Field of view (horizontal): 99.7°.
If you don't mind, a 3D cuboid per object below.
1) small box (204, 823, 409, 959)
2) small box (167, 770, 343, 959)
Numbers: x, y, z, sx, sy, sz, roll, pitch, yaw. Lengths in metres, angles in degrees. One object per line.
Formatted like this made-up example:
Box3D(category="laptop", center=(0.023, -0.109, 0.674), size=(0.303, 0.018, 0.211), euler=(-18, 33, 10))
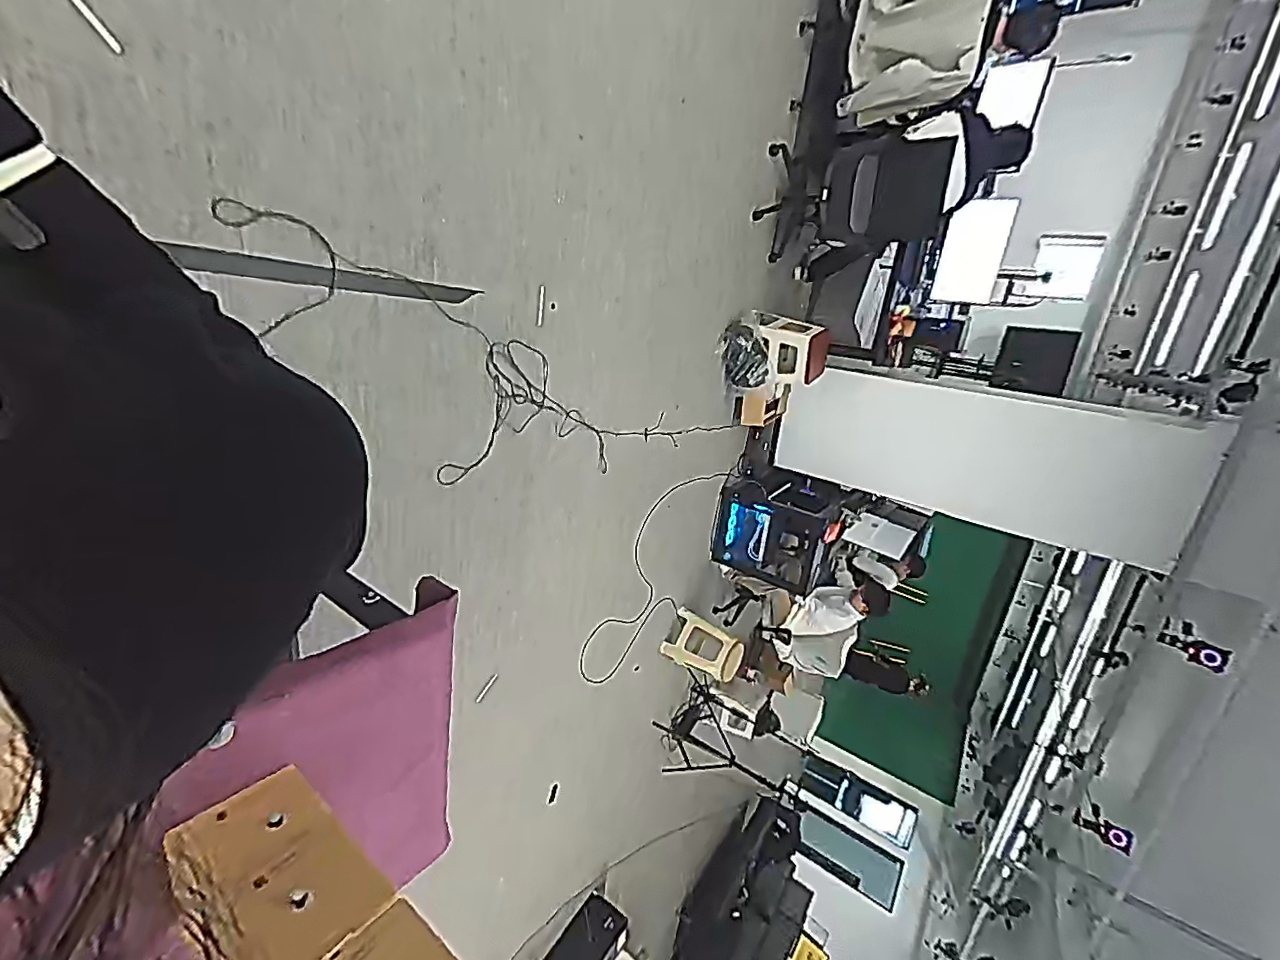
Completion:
Box3D(category="small box", center=(-0.431, 0.596, 0.708), size=(0.168, 0.176, 0.179), euler=(-24, 125, -50))
Box3D(category="small box", center=(-0.564, 0.570, 0.803), size=(0.168, 0.176, 0.179), euler=(-18, 121, -53))
